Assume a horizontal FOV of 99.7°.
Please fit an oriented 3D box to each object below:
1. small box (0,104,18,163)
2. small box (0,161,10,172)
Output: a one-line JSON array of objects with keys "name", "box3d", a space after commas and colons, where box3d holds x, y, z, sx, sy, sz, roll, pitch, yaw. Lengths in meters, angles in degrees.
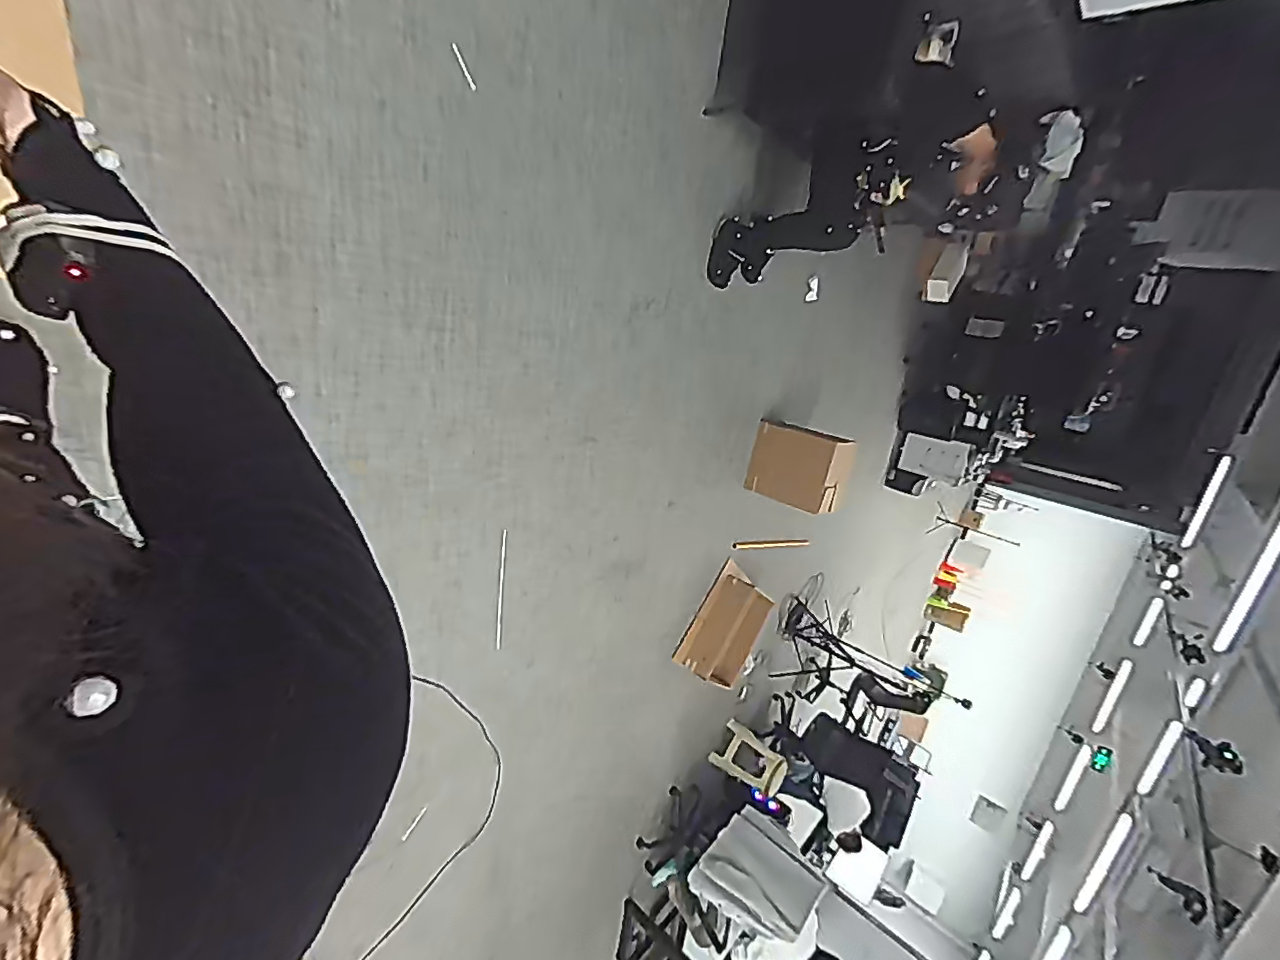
[{"name": "small box", "box3d": [-0.558, -0.313, 0.346, 0.168, 0.176, 0.179, -24, 125, -40]}, {"name": "small box", "box3d": [-0.679, -0.362, 0.450, 0.168, 0.176, 0.179, -23, 126, -41]}]
